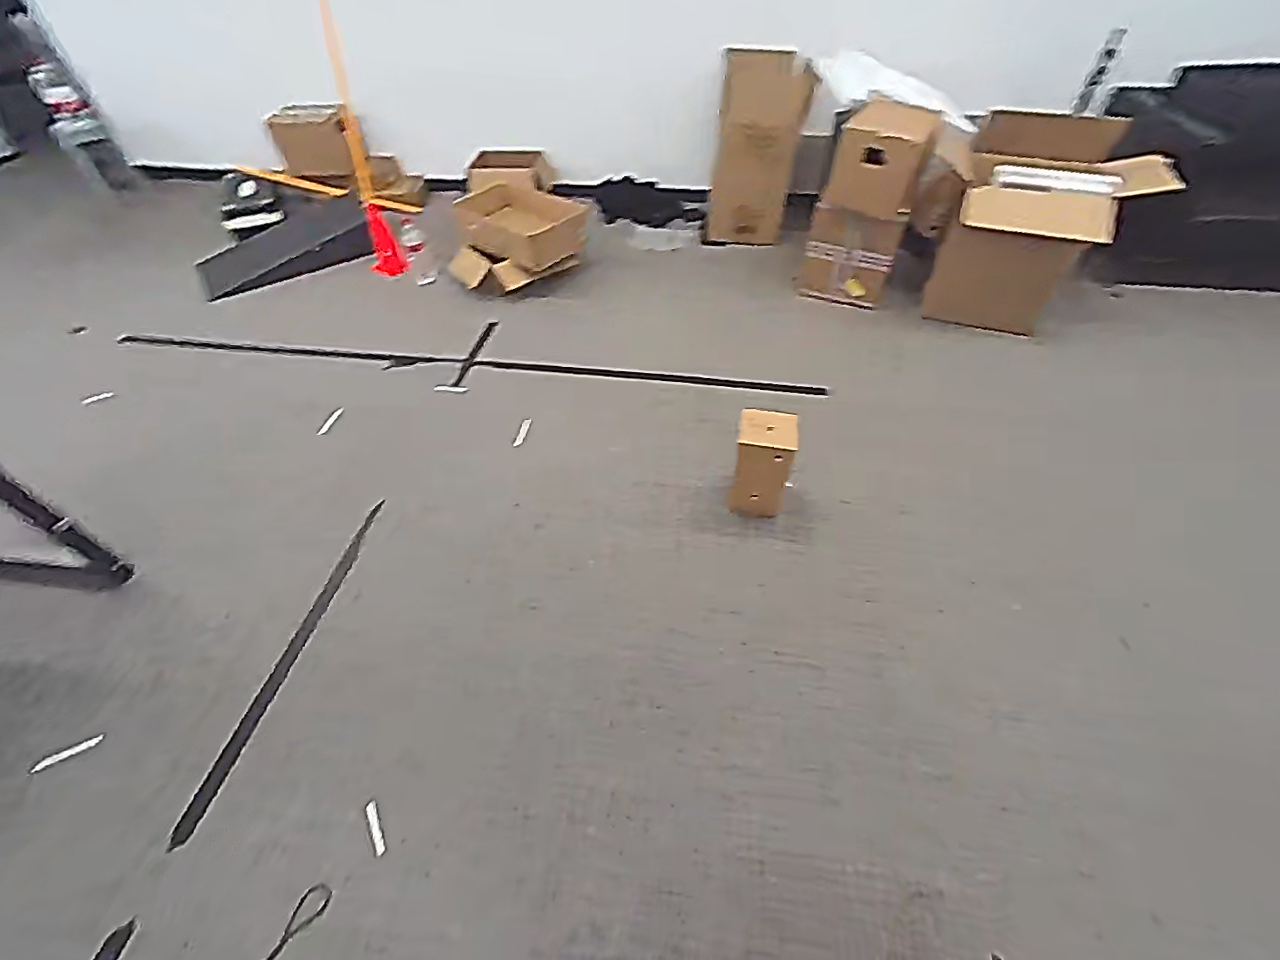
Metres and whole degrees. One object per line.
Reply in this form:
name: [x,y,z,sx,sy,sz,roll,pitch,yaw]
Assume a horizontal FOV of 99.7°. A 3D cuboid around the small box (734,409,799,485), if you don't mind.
small box: [0.408,-0.104,1.750,0.179,0.176,0.168,8,48,9]
